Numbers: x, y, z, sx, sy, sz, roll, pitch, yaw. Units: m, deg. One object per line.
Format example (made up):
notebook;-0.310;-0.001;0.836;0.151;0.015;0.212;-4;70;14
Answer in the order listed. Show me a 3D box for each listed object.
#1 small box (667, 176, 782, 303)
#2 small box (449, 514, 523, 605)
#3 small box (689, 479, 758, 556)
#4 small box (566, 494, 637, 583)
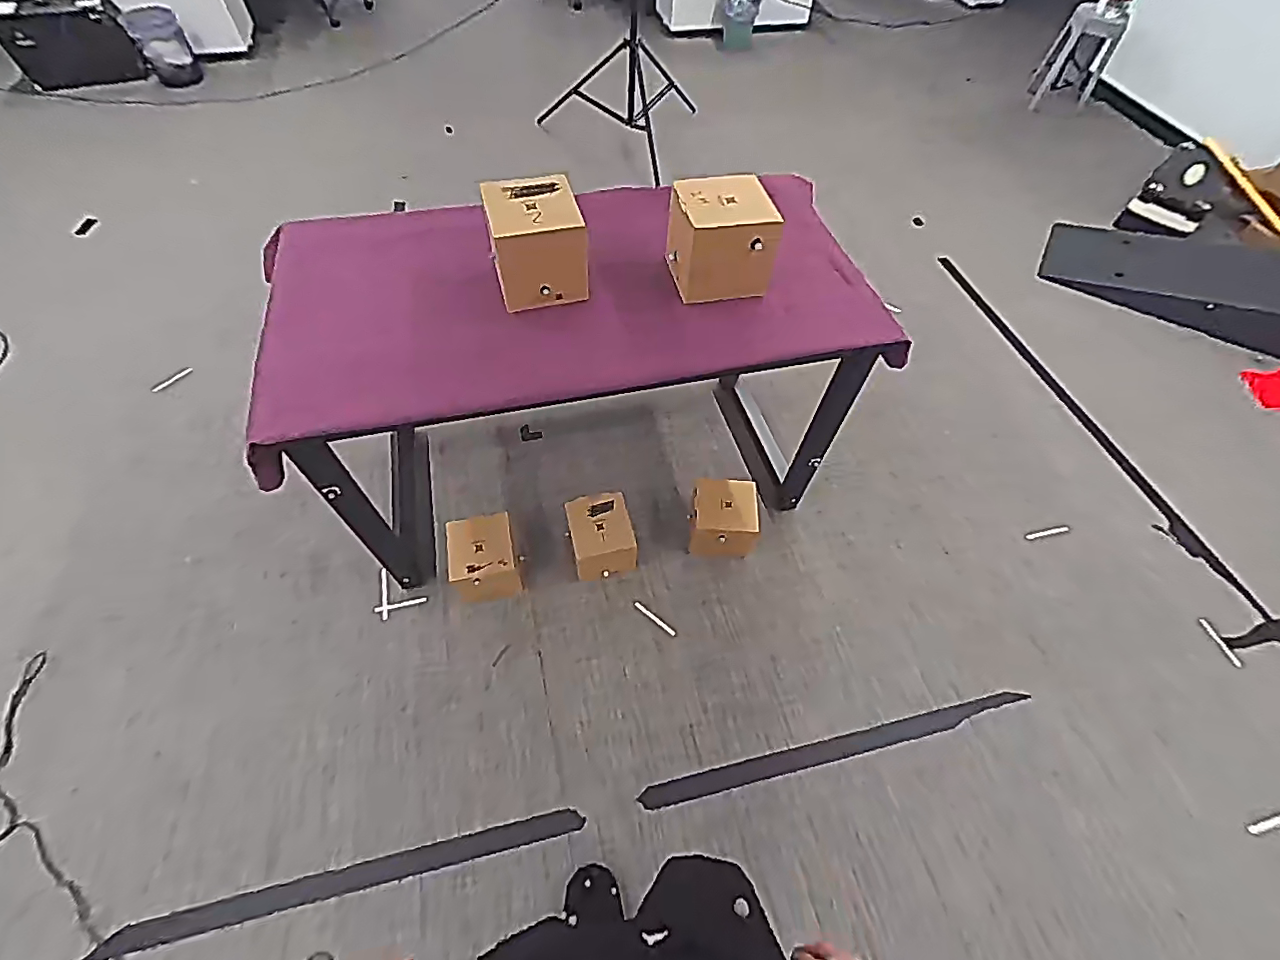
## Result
small box;0.159;-0.480;1.088;0.179;0.176;0.168;-10;57;-8
small box;-0.419;0.220;1.478;0.168;0.176;0.179;-9;57;-9
small box;0.239;0.114;1.578;0.179;0.176;0.168;3;58;1
small box;-0.111;0.167;1.526;0.168;0.176;0.179;-12;59;-10
